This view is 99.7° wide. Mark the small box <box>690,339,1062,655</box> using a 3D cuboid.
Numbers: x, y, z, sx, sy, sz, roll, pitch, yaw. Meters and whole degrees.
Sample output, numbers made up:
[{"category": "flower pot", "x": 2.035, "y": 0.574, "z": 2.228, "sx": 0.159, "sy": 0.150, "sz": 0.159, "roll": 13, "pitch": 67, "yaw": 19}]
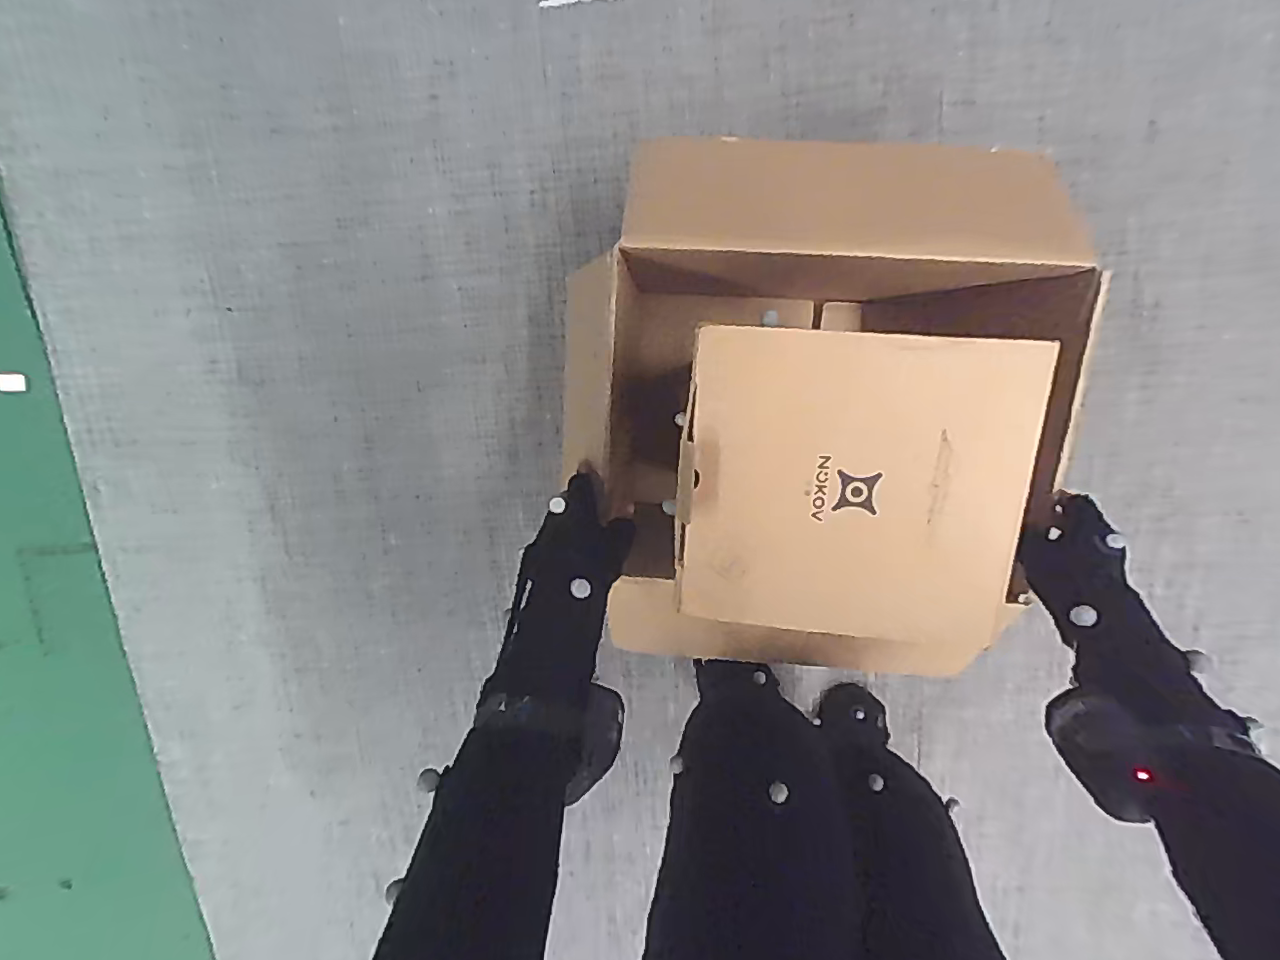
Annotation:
[{"category": "small box", "x": 0.127, "y": -0.004, "z": 0.368, "sx": 0.179, "sy": 0.176, "sz": 0.168, "roll": 3, "pitch": 103, "yaw": 5}]
